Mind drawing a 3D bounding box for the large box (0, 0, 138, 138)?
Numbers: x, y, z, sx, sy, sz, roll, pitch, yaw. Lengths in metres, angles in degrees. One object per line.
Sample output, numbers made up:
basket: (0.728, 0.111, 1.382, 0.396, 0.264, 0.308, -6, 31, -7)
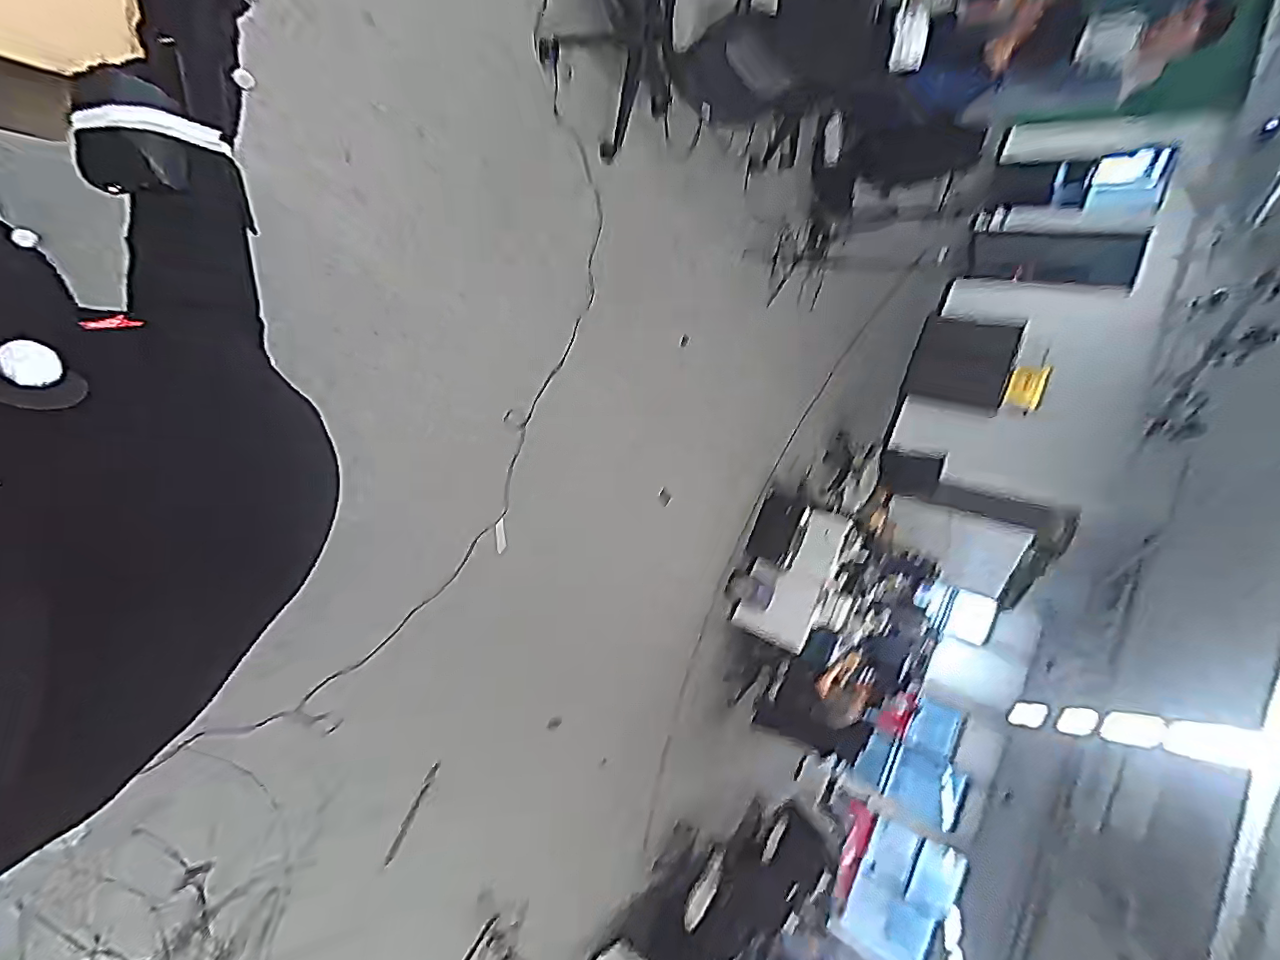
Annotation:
large box: (-0.568, -0.407, 0.256, 0.408, 0.320, 0.320, -16, 119, -52)
